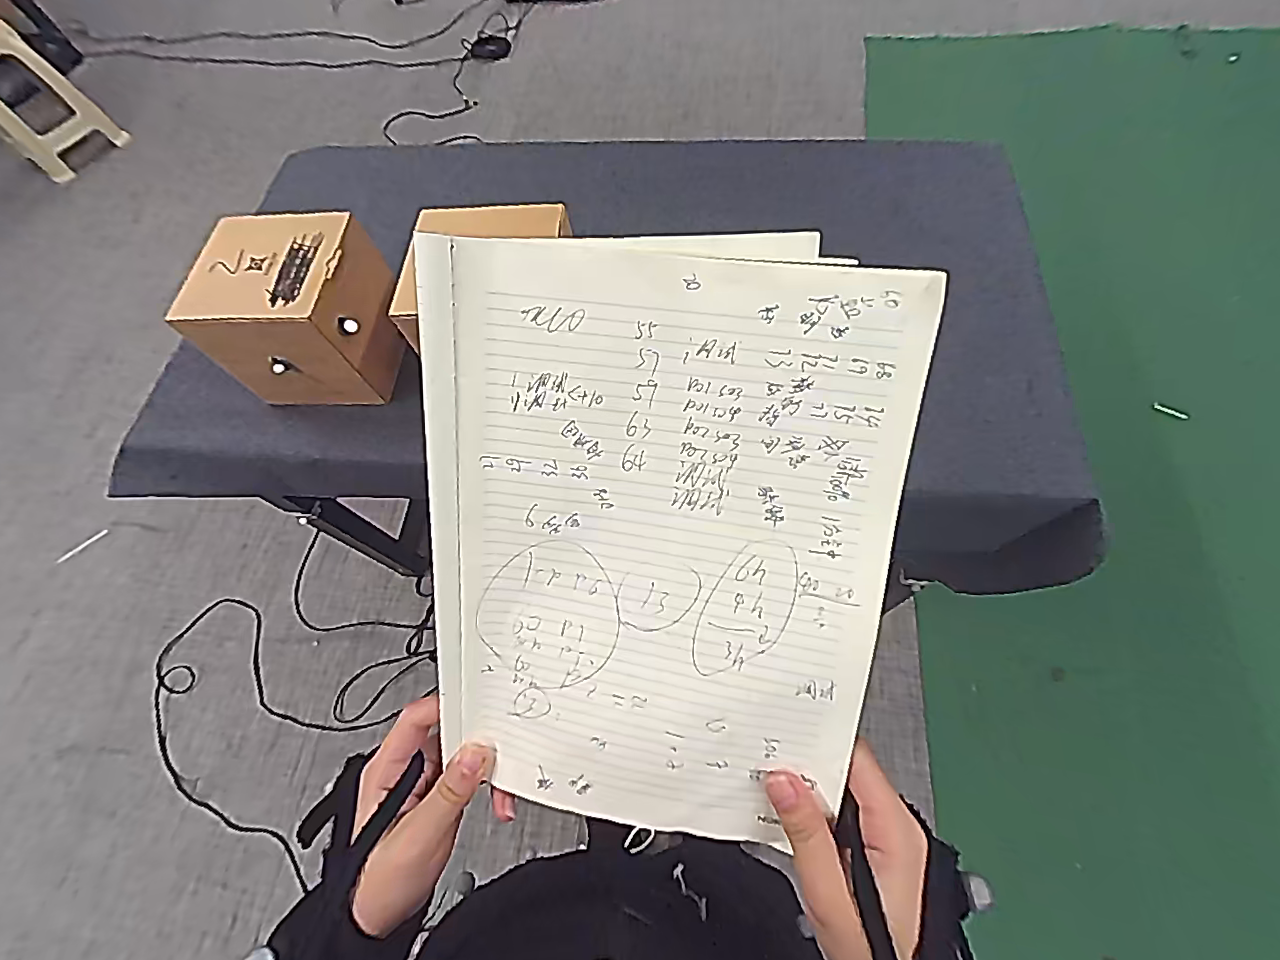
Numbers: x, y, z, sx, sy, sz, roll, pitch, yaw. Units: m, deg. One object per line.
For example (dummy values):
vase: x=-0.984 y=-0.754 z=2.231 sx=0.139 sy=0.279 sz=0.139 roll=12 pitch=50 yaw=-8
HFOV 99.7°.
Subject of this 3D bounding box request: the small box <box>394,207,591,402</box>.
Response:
small box: x=-0.167 y=-0.209 z=0.674 sx=0.179 sy=0.176 sz=0.168 roll=0 pitch=64 yaw=5
